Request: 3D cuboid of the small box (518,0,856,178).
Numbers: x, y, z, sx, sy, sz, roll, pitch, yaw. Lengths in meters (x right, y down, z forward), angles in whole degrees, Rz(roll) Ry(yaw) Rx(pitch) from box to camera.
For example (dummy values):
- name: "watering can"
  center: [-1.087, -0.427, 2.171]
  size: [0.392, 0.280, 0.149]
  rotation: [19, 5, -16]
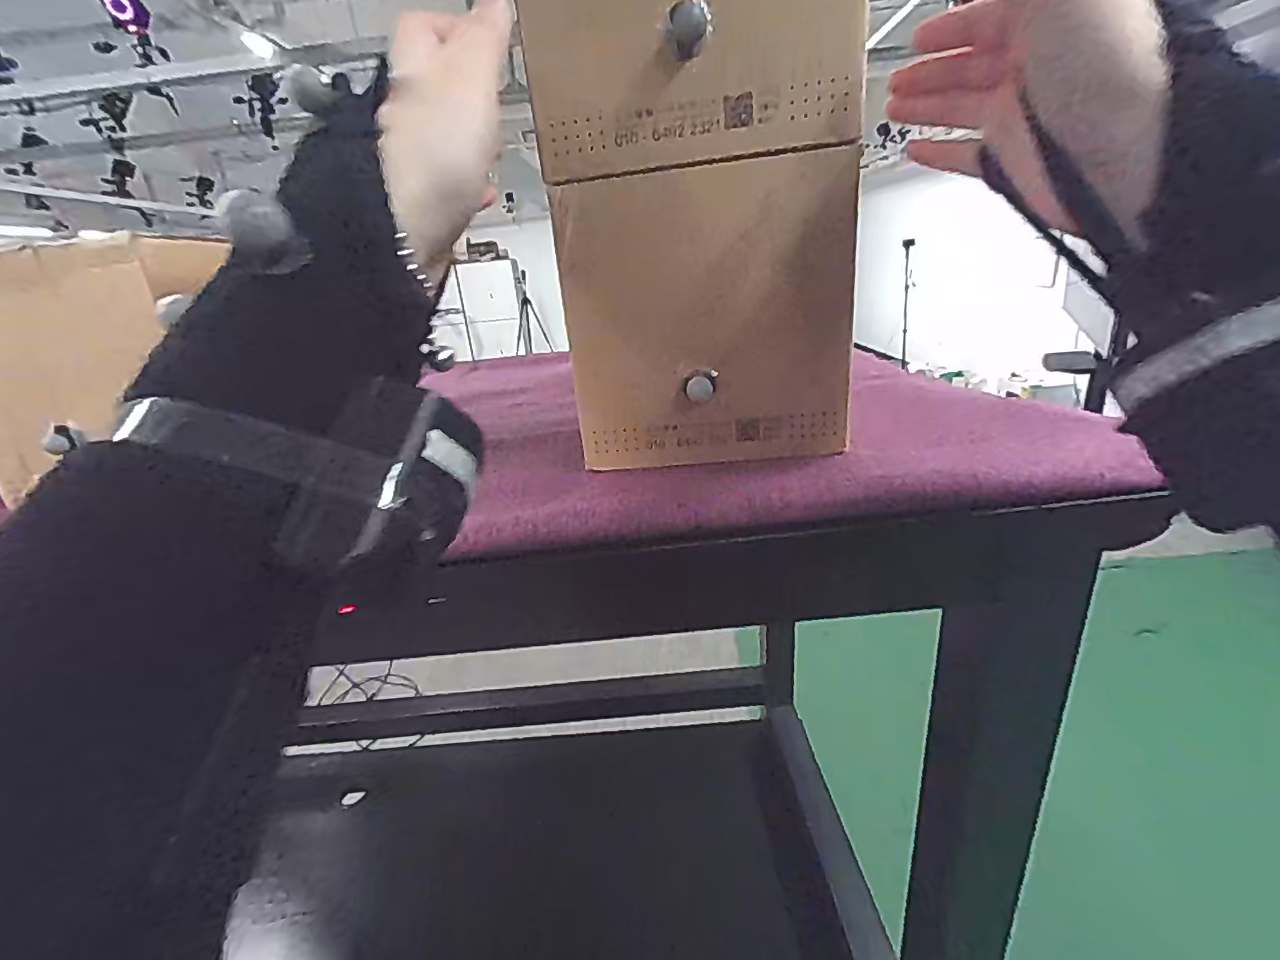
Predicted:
- name: "small box"
  center: [0.024, -0.271, 0.326]
  size: [0.168, 0.176, 0.179]
  rotation: [-5, 22, 7]

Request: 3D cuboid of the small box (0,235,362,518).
- name: "small box"
  center: [-0.341, -0.082, 0.411]
  size: [0.168, 0.176, 0.179]
  rotation: [-4, 21, 6]

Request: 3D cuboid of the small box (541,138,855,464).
- name: "small box"
  center: [0.043, -0.119, 0.384]
  size: [0.168, 0.176, 0.179]
  rotation: [-5, 22, 7]
